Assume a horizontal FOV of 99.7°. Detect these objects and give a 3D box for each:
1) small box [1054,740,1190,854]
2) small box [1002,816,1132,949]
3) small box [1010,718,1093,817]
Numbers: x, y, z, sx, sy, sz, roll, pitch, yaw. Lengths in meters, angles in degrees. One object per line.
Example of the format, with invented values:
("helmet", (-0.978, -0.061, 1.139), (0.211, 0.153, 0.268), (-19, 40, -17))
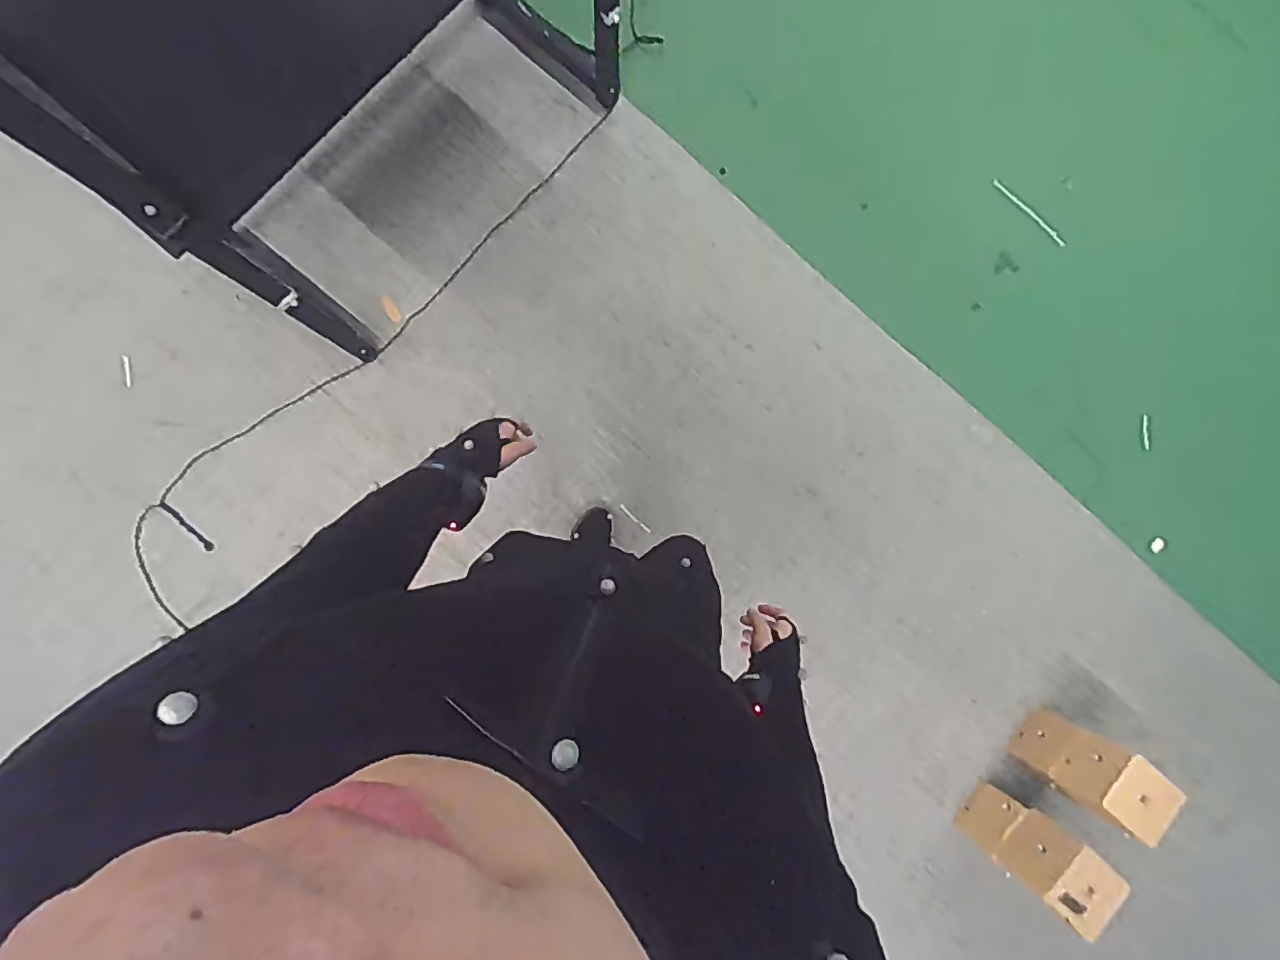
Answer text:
("small box", (1.258, 0.819, 1.428), (0.179, 0.176, 0.168), (41, 84, 0))
("small box", (1.089, 1.029, 1.399), (0.168, 0.176, 0.179), (45, 84, 0))
("small box", (1.250, 0.830, 1.590), (0.179, 0.176, 0.168), (44, 85, 0))
